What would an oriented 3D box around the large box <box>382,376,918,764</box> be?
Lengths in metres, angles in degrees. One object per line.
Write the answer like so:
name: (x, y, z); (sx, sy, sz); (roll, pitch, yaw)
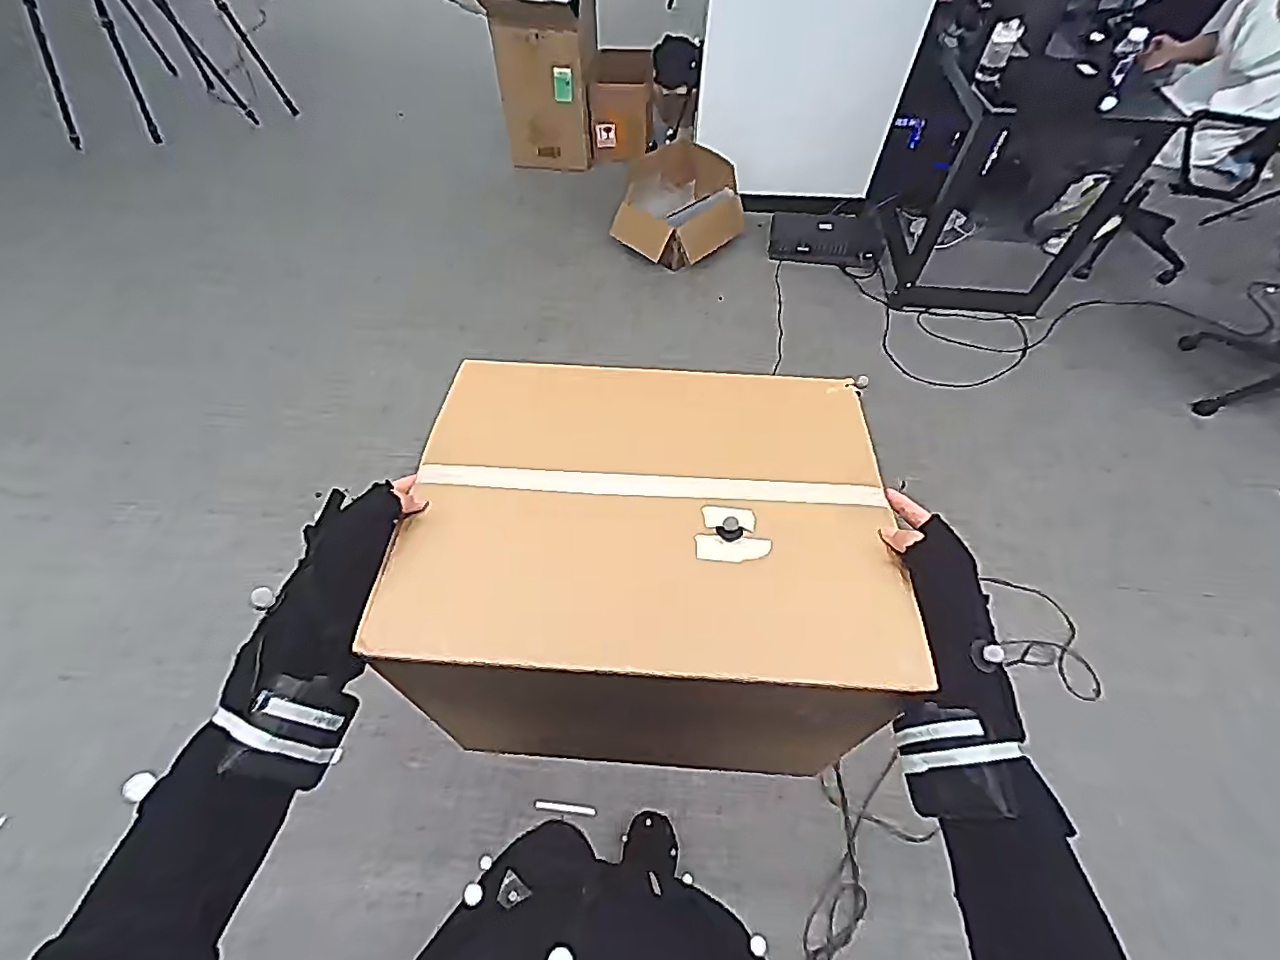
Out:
large box: (0.008, 0.108, 0.601); (0.408, 0.320, 0.320); (3, 52, 1)
